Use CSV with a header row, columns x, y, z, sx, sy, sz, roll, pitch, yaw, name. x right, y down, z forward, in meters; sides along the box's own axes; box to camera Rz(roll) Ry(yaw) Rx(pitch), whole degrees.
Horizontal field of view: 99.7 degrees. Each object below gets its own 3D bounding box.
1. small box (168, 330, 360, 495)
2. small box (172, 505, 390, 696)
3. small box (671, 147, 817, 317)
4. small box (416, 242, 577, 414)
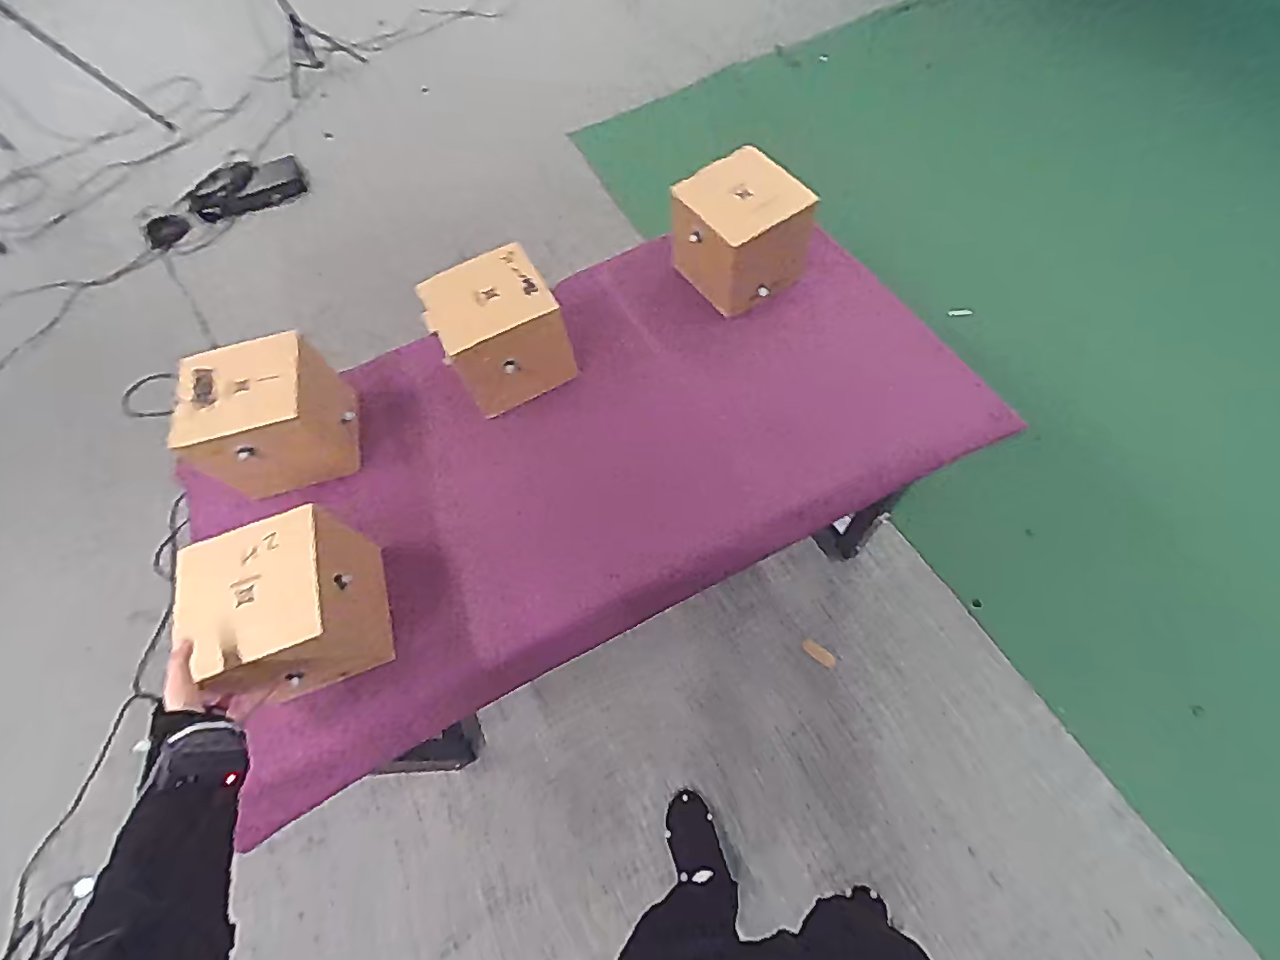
x,y,z,sx,sy,sz,roll,pitch,yaw,name
-0.562,-0.096,0.832,0.179,0.176,0.168,-16,64,-4,small box
-0.441,0.163,0.689,0.168,0.176,0.179,-19,63,-5,small box
0.169,-0.417,0.924,0.168,0.176,0.179,-32,66,-9,small box
-0.222,-0.237,0.872,0.179,0.176,0.168,-28,66,-8,small box
